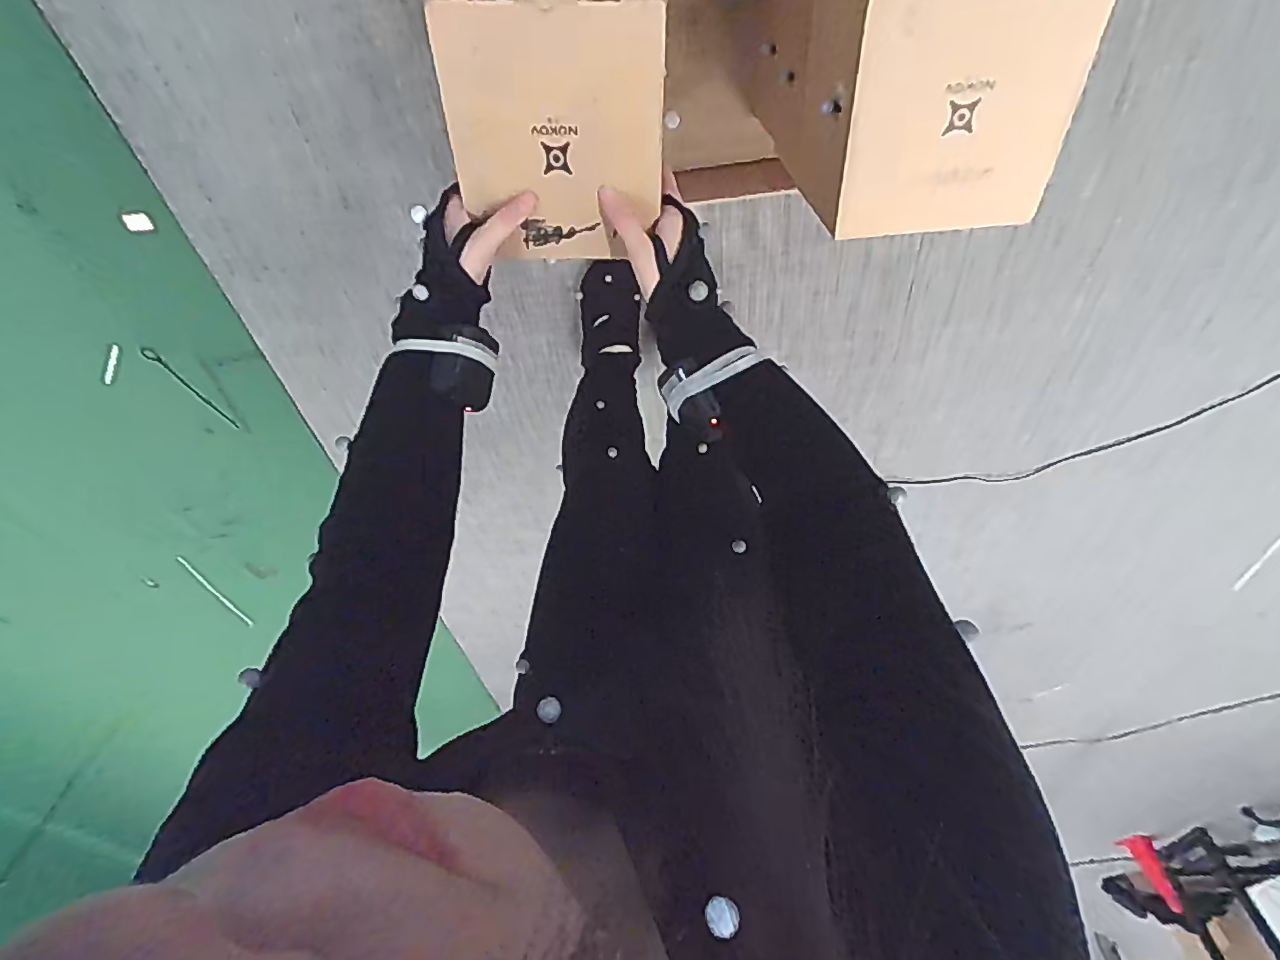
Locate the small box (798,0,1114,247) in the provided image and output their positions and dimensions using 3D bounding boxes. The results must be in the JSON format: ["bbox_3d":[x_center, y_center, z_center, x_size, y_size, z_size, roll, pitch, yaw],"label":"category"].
[{"bbox_3d":[0.243,-0.324,0.471,0.168,0.176,0.179,-2,132,4],"label":"small box"}]

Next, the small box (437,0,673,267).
[{"bbox_3d":[-0.060,-0.309,0.483,0.168,0.176,0.179,2,131,1],"label":"small box"}]
